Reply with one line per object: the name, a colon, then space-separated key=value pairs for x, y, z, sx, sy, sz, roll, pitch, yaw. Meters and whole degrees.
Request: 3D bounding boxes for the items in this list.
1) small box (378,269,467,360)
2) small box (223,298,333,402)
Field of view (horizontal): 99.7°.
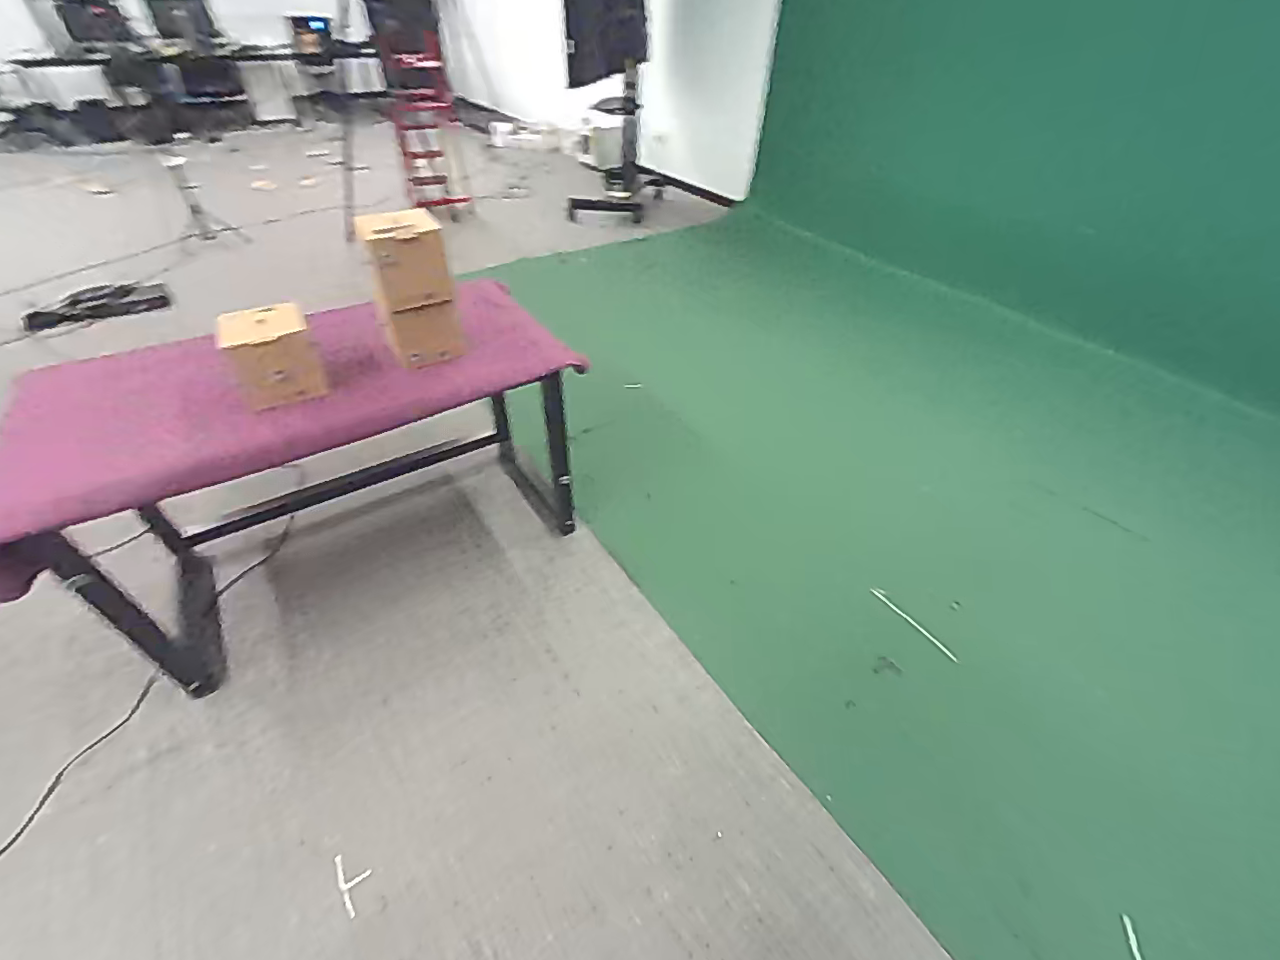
small box: x=-0.567 y=-0.430 z=1.422 sx=0.168 sy=0.176 sz=0.179 roll=-19 pitch=47 yaw=-23
small box: x=-0.848 y=-0.301 z=1.275 sx=0.168 sy=0.176 sz=0.179 roll=-20 pitch=48 yaw=-23
